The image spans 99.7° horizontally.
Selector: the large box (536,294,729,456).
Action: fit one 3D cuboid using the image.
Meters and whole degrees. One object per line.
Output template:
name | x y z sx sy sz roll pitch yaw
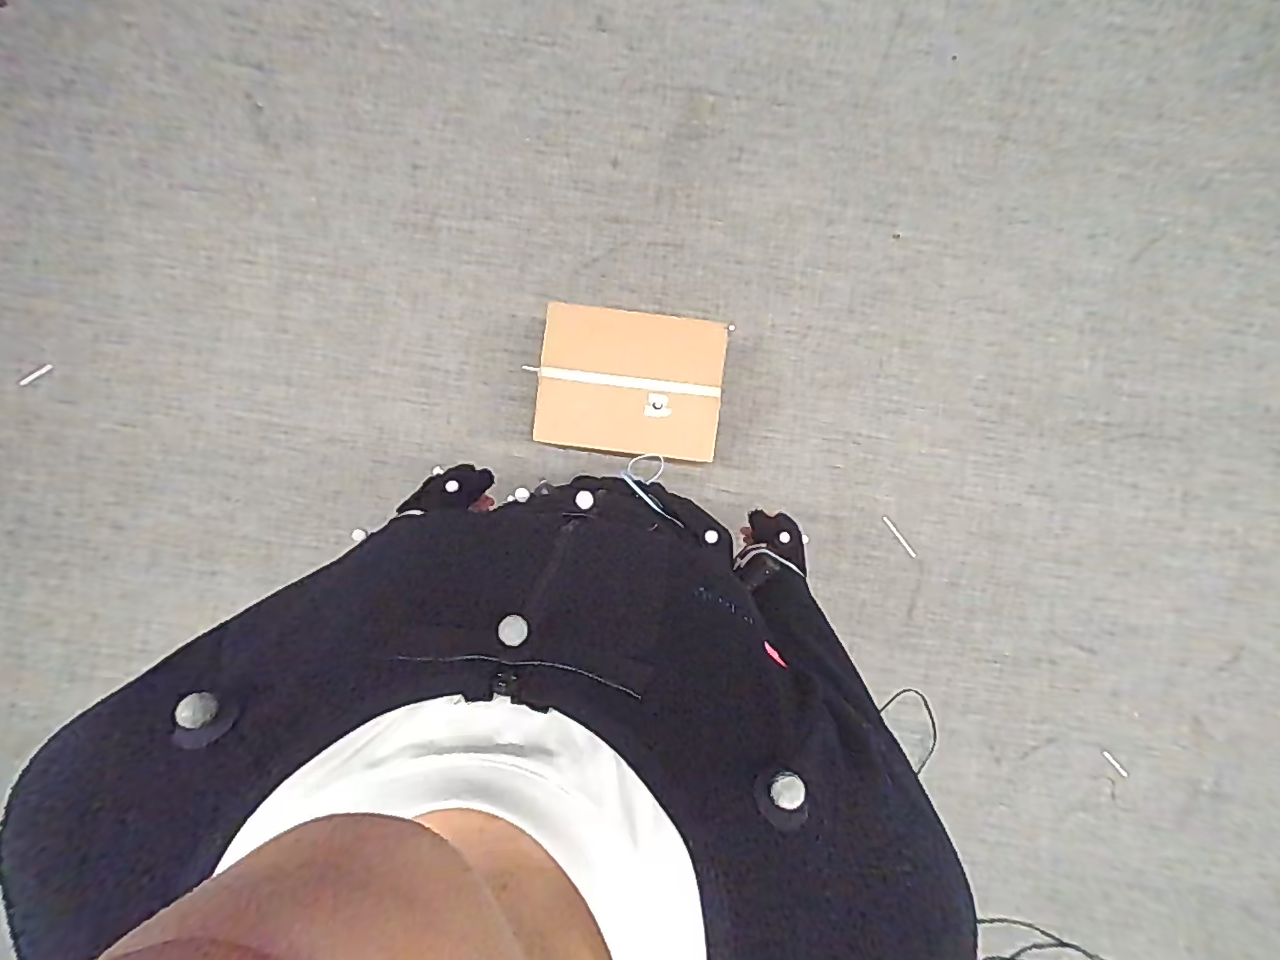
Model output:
large box | -0.020 -0.237 1.337 0.408 0.320 0.320 8 92 -1
